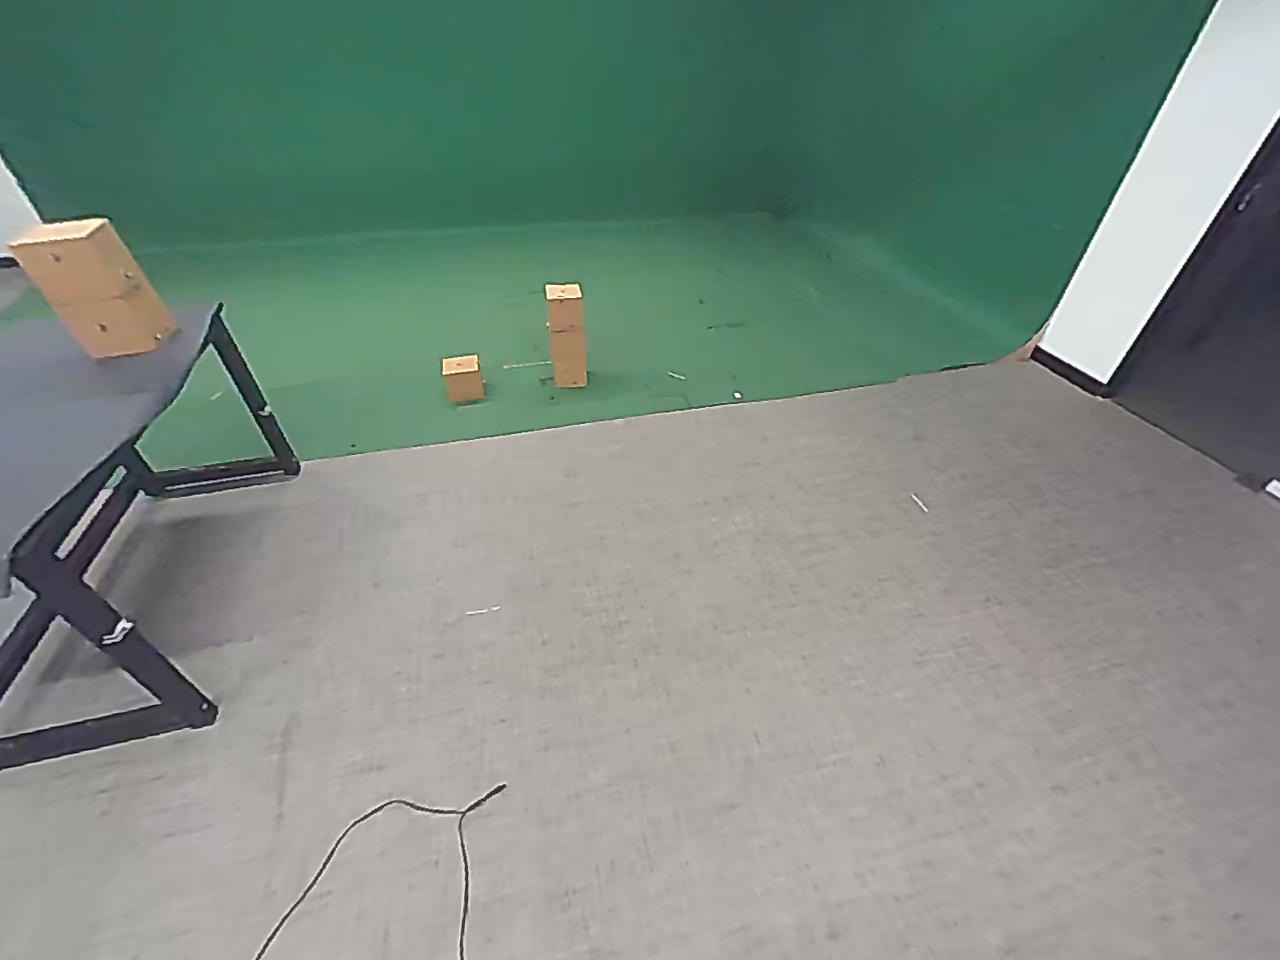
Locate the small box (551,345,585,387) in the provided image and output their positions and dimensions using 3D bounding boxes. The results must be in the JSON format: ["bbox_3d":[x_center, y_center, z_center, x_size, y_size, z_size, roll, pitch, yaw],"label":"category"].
[{"bbox_3d":[-0.385,-0.607,2.895,0.168,0.176,0.179,-4,41,-6],"label":"small box"}]

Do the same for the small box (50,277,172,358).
[{"bbox_3d":[-1.554,-0.484,1.606,0.179,0.176,0.168,-11,43,-9],"label":"small box"}]

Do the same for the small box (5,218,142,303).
[{"bbox_3d":[-1.553,-0.605,1.497,0.179,0.176,0.168,-13,44,-13],"label":"small box"}]

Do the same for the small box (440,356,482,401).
[{"bbox_3d":[-0.918,-0.518,2.775,0.179,0.176,0.168,-9,43,-12],"label":"small box"}]

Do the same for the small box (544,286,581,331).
[{"bbox_3d":[-0.383,-0.848,2.671,0.168,0.176,0.179,-6,40,-9],"label":"small box"}]
